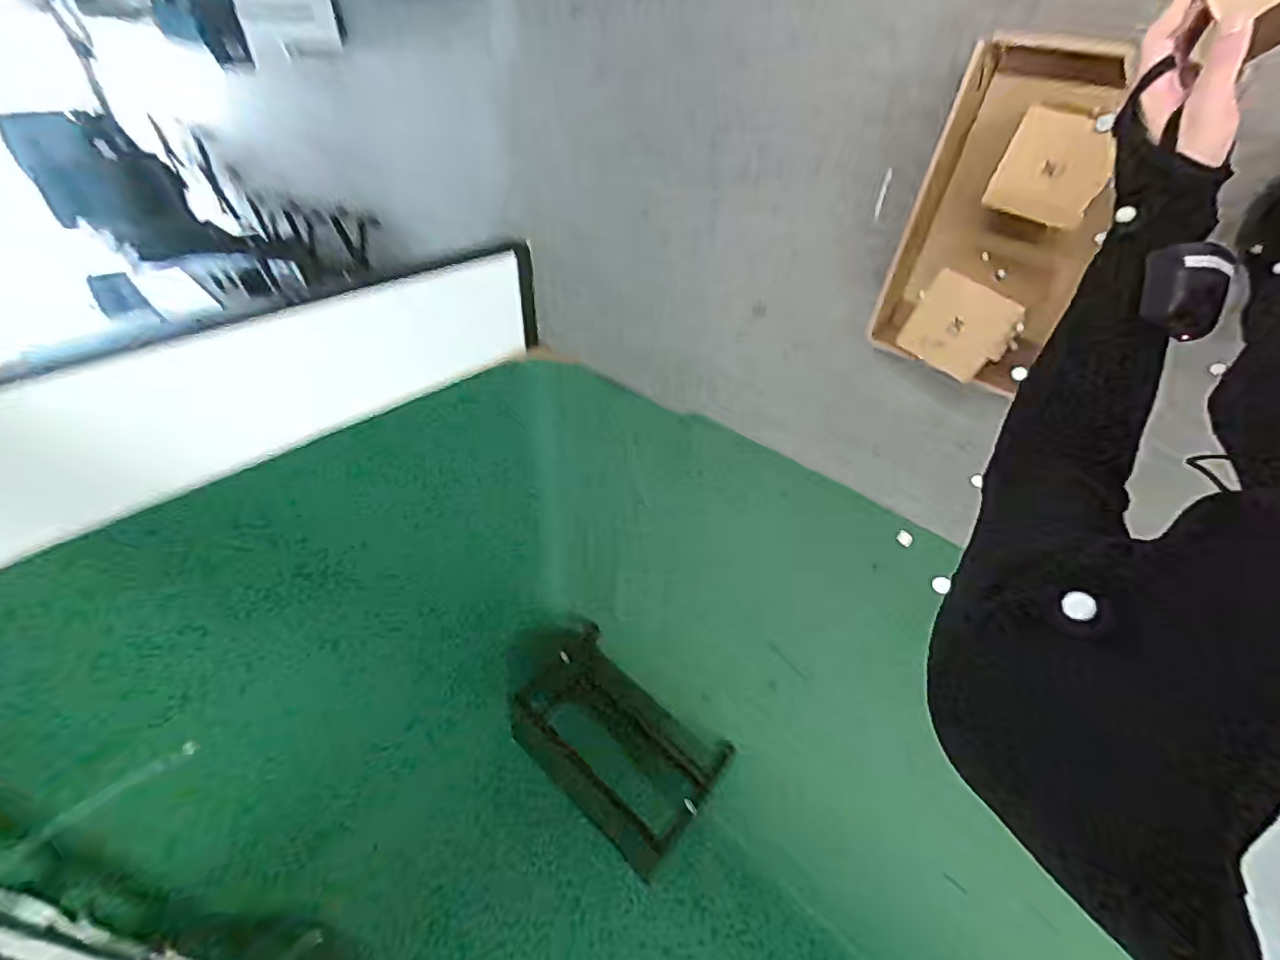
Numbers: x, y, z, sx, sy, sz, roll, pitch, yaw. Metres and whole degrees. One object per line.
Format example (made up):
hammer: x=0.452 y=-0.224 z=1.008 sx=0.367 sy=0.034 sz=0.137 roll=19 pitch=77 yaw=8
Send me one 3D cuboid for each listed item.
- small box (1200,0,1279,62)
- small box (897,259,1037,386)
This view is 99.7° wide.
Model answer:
small box: x=0.504 y=-0.444 z=0.377 sx=0.179 sy=0.176 sz=0.168 roll=-20 pitch=92 yaw=52
small box: x=0.675 y=-0.331 z=1.113 sx=0.168 sy=0.176 sz=0.179 roll=41 pitch=139 yaw=21
